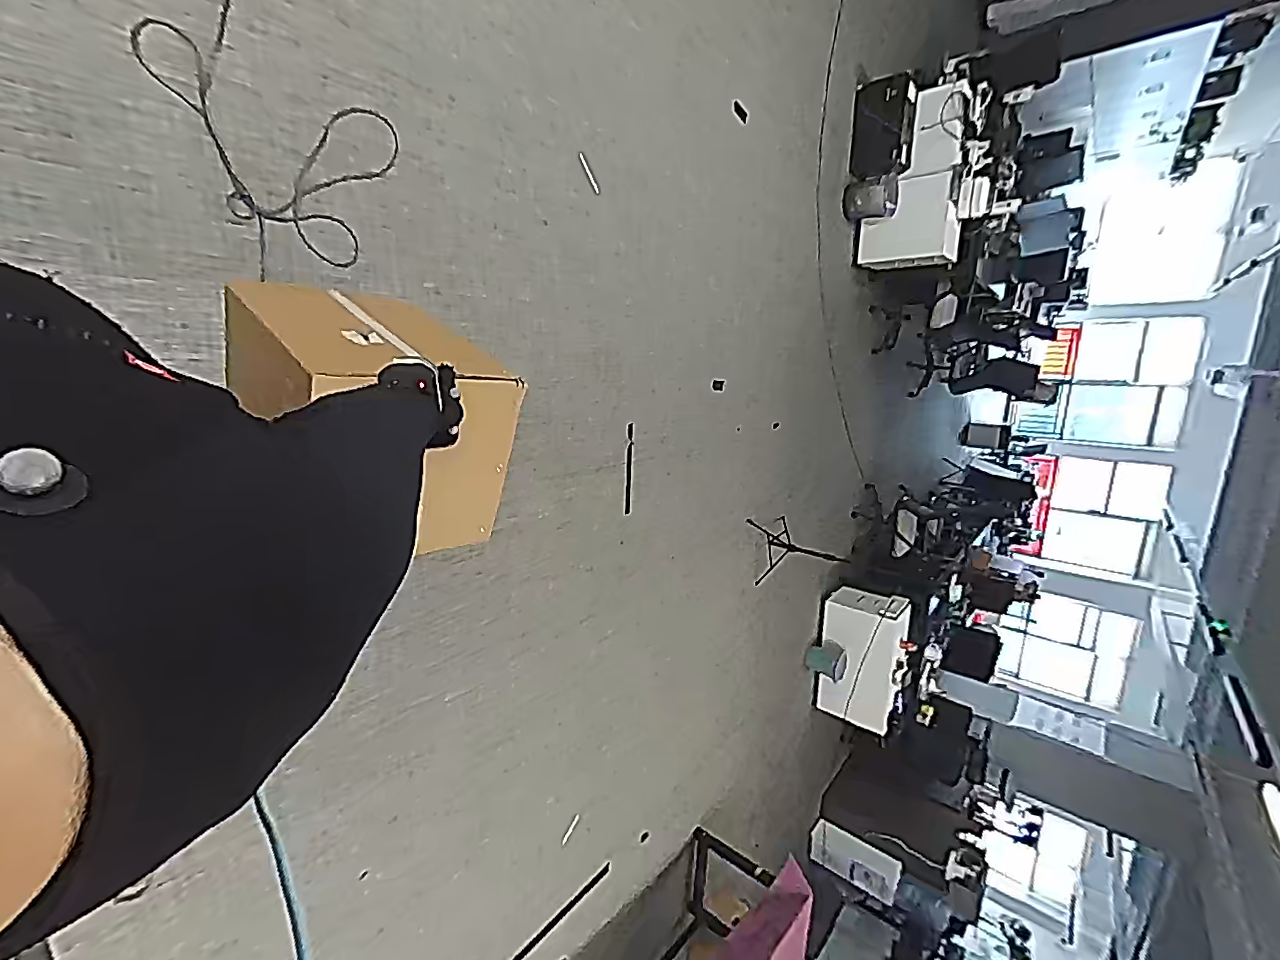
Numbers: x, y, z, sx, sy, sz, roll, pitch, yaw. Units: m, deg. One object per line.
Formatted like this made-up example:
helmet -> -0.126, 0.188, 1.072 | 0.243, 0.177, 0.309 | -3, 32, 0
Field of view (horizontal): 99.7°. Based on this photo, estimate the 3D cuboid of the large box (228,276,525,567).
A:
large box -> -0.471, -0.114, 0.936 | 0.320, 0.408, 0.320 | -10, 129, -47
